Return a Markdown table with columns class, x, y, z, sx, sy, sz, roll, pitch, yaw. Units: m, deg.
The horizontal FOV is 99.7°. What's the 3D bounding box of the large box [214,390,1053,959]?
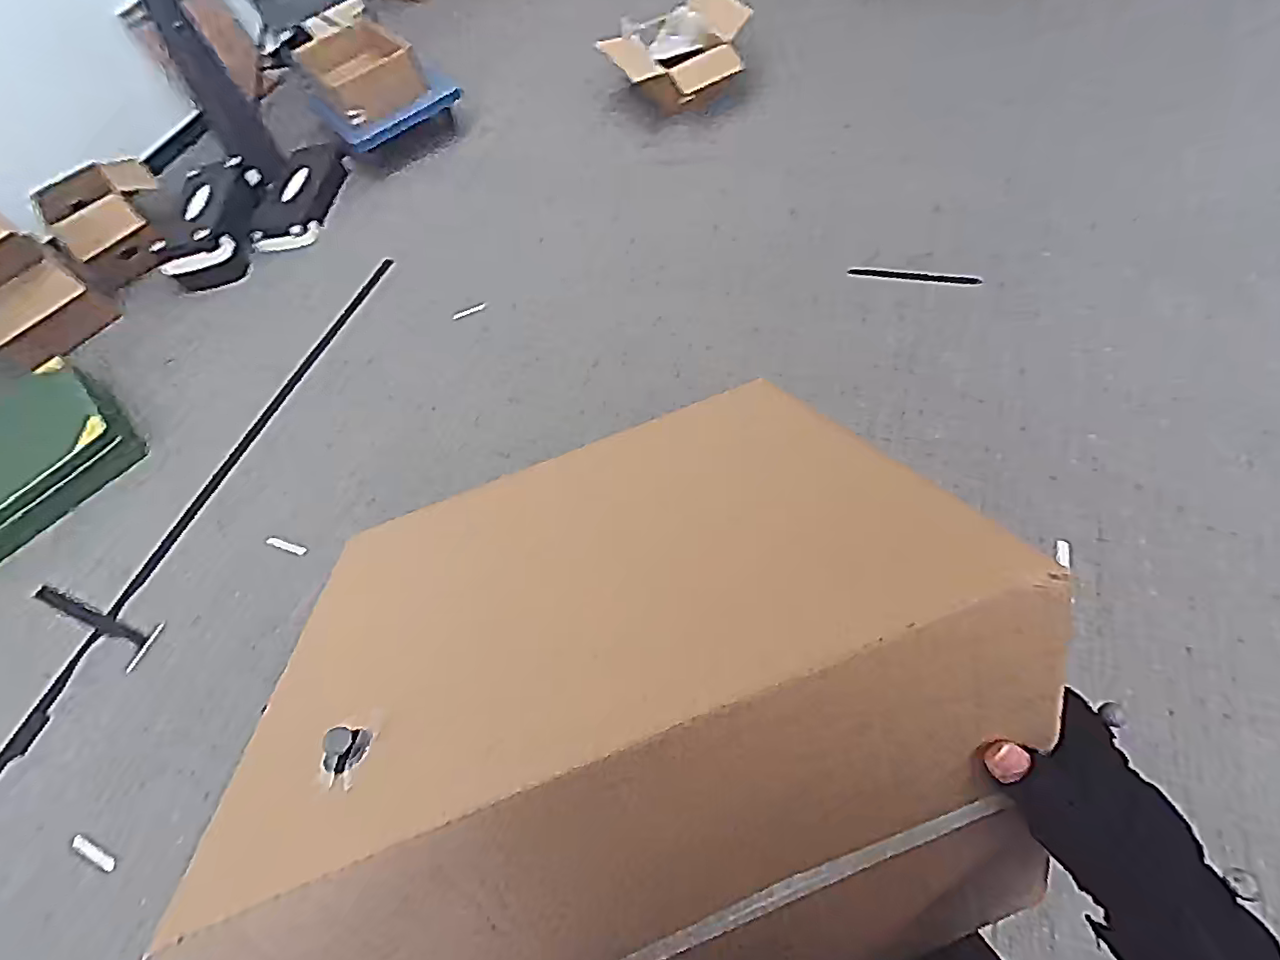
| class | x | y | z | sx | sy | sz | roll | pitch | yaw |
| --- | --- | --- | --- | --- | --- | --- | --- | --- | --- |
| large box | 0.015 | 0.170 | 0.435 | 0.408 | 0.320 | 0.320 | -21 | 29 | -2 |
